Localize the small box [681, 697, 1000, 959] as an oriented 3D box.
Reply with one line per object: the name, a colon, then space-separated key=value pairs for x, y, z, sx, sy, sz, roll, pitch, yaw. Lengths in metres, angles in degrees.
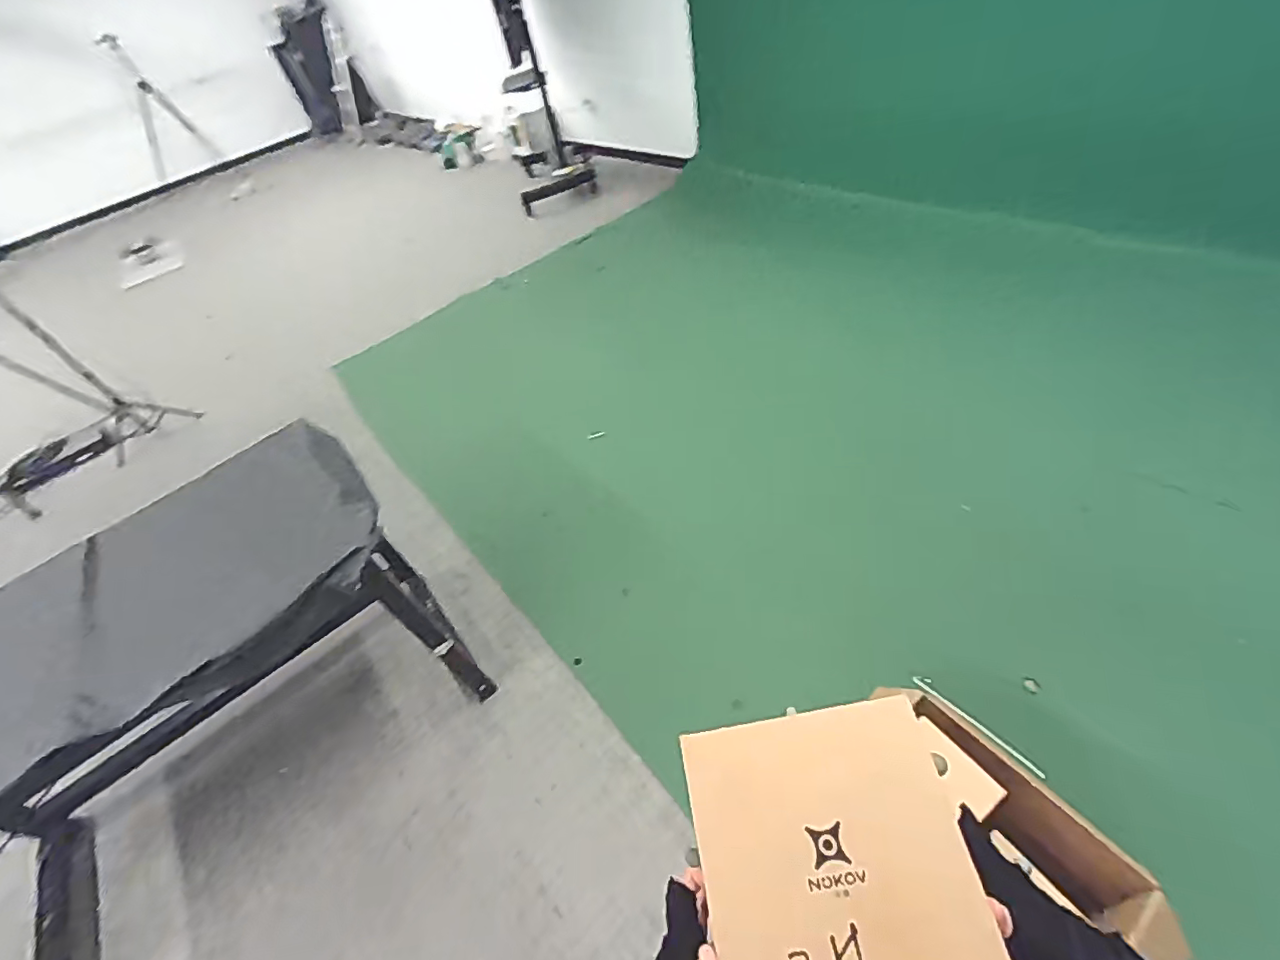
small box: x=0.133 y=0.282 z=0.409 sx=0.168 sy=0.176 sz=0.179 roll=-13 pitch=58 yaw=6
